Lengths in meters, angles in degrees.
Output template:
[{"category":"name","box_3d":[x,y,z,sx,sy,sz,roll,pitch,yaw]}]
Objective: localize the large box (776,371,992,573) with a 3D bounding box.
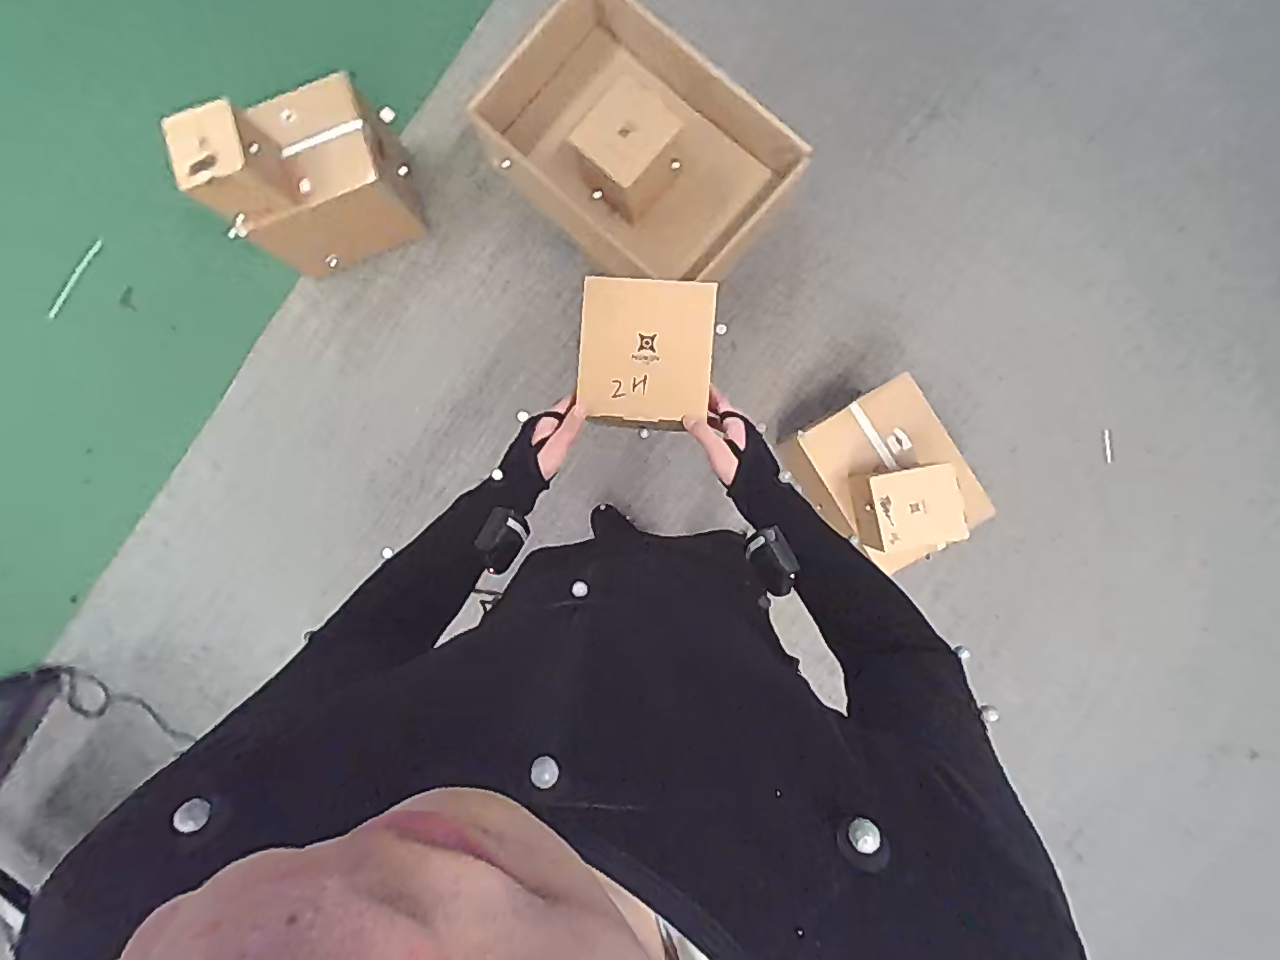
[{"category":"large box","box_3d":[0.620,-0.016,1.448,0.320,0.320,0.408,-31,87,2]}]

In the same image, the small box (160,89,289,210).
[{"category":"small box","box_3d":[-0.990,-0.784,1.306,0.168,0.176,0.179,-15,89,2]}]

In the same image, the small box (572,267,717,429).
[{"category":"small box","box_3d":[0.007,-0.169,0.739,0.168,0.176,0.179,5,92,3]}]

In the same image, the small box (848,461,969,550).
[{"category":"small box","box_3d":[0.589,0.052,1.203,0.179,0.176,0.168,-11,89,5]}]
